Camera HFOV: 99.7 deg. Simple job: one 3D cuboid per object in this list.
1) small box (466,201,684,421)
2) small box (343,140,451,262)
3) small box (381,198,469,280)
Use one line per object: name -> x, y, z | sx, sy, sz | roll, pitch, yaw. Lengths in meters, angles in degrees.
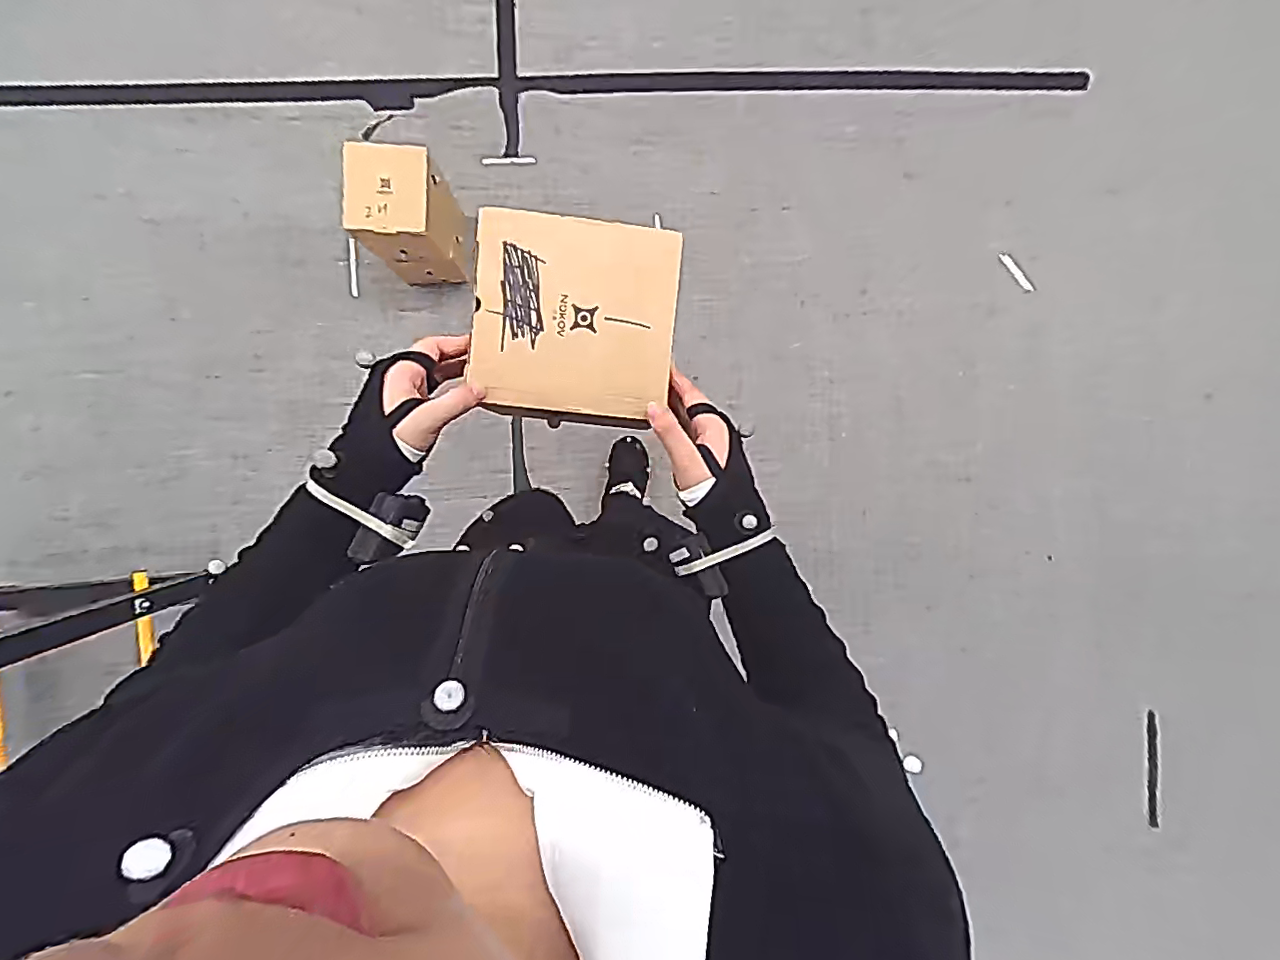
small box -> -0.060, -0.150, 0.542 | 0.179, 0.176, 0.168 | 5, 93, -5
small box -> -0.517, -0.595, 1.170 | 0.168, 0.176, 0.179 | 2, 93, -3
small box -> -0.529, -0.601, 1.335 | 0.168, 0.176, 0.179 | -3, 94, -3
